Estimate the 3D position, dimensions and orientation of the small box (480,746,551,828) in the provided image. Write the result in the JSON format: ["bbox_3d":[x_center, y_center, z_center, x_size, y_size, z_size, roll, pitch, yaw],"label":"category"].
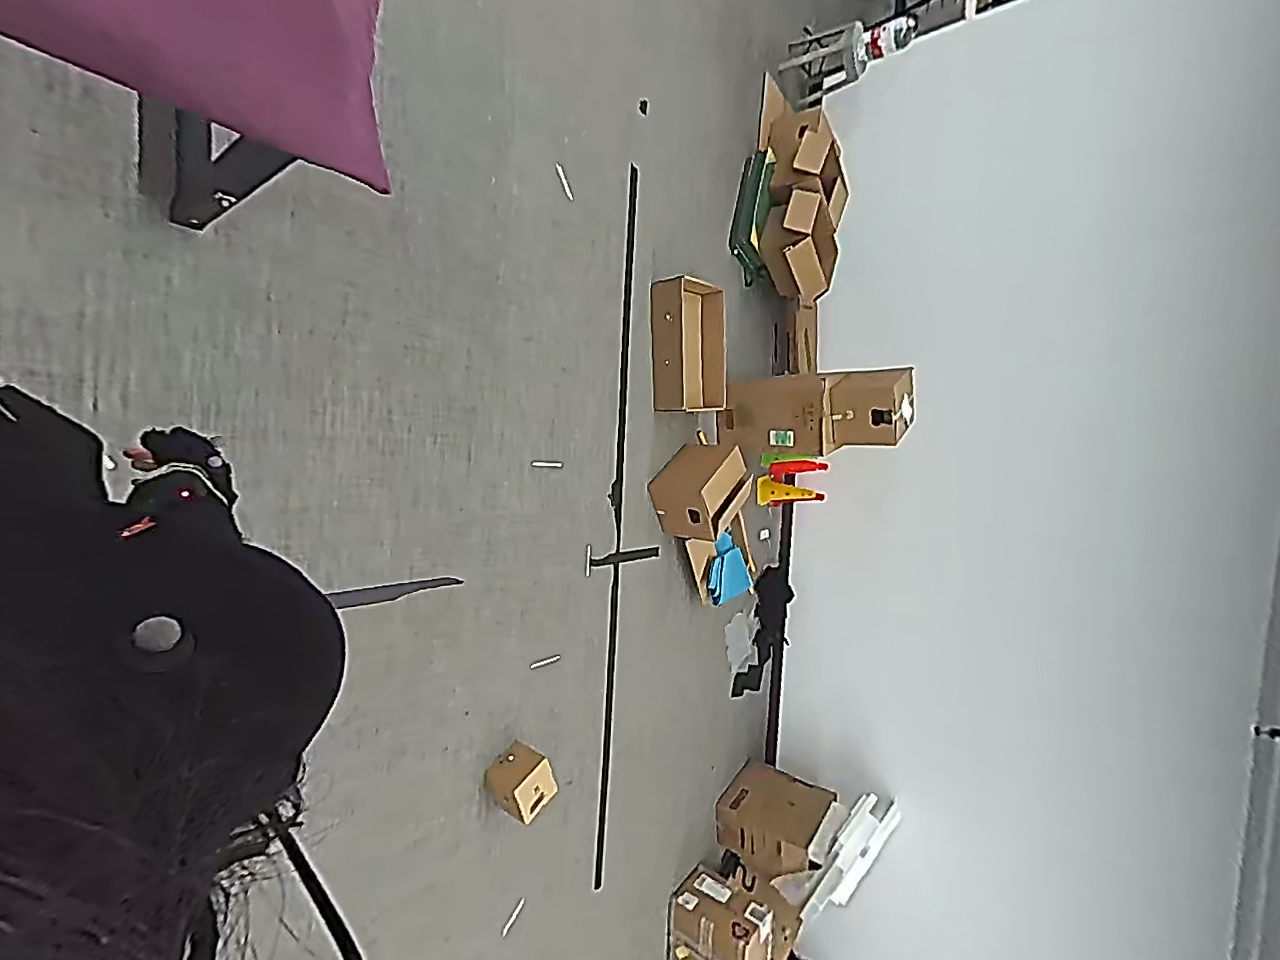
[{"bbox_3d":[-0.462,1.129,2.001,0.168,0.176,0.179,-33,119,-47],"label":"small box"}]
